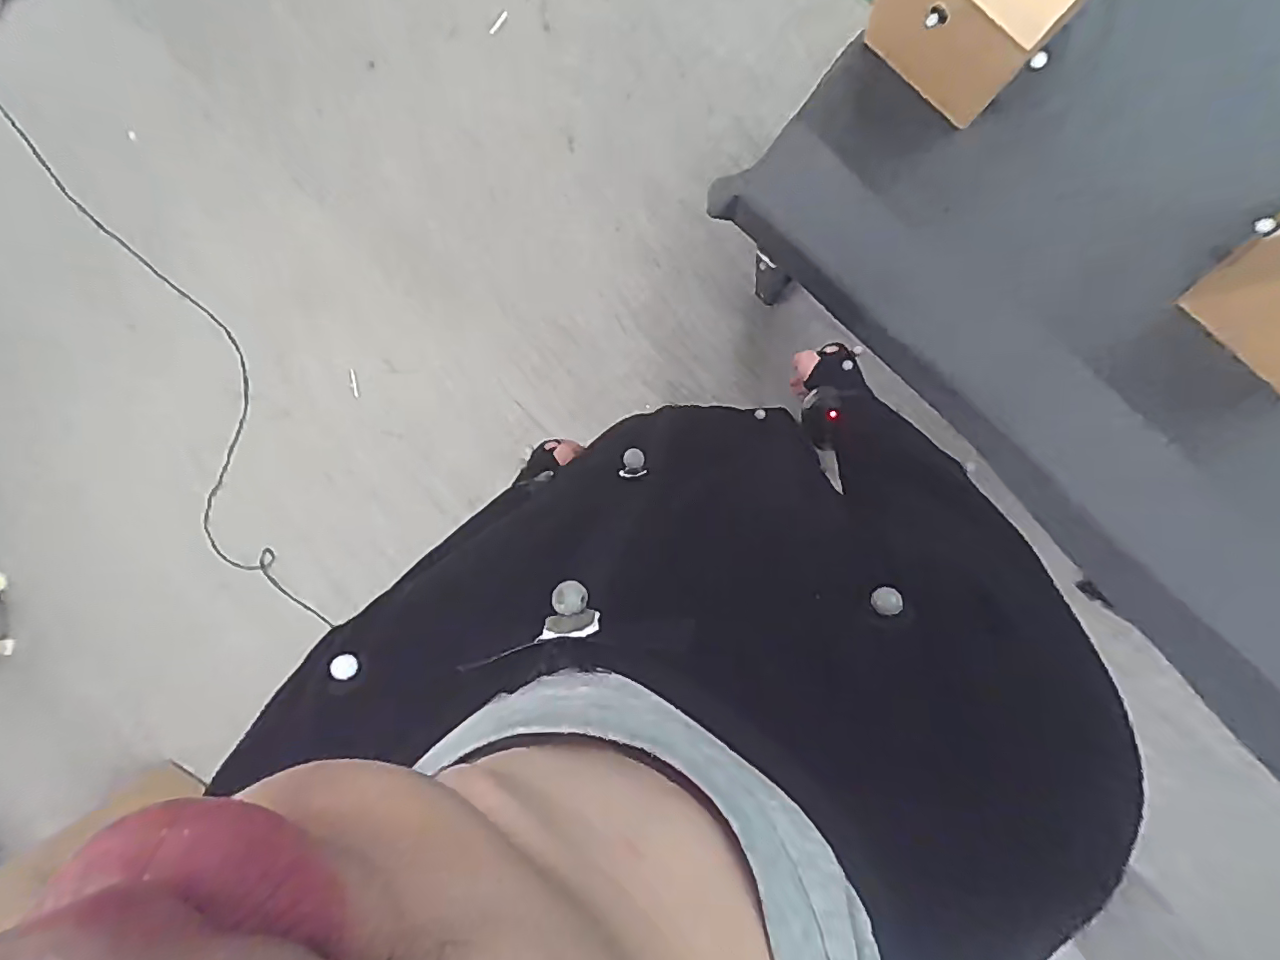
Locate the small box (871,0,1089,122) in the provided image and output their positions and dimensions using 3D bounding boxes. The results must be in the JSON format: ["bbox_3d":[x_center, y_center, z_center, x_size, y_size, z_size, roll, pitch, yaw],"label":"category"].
[{"bbox_3d":[0.387,-0.544,0.590,0.179,0.176,0.168,44,104,0],"label":"small box"}]
